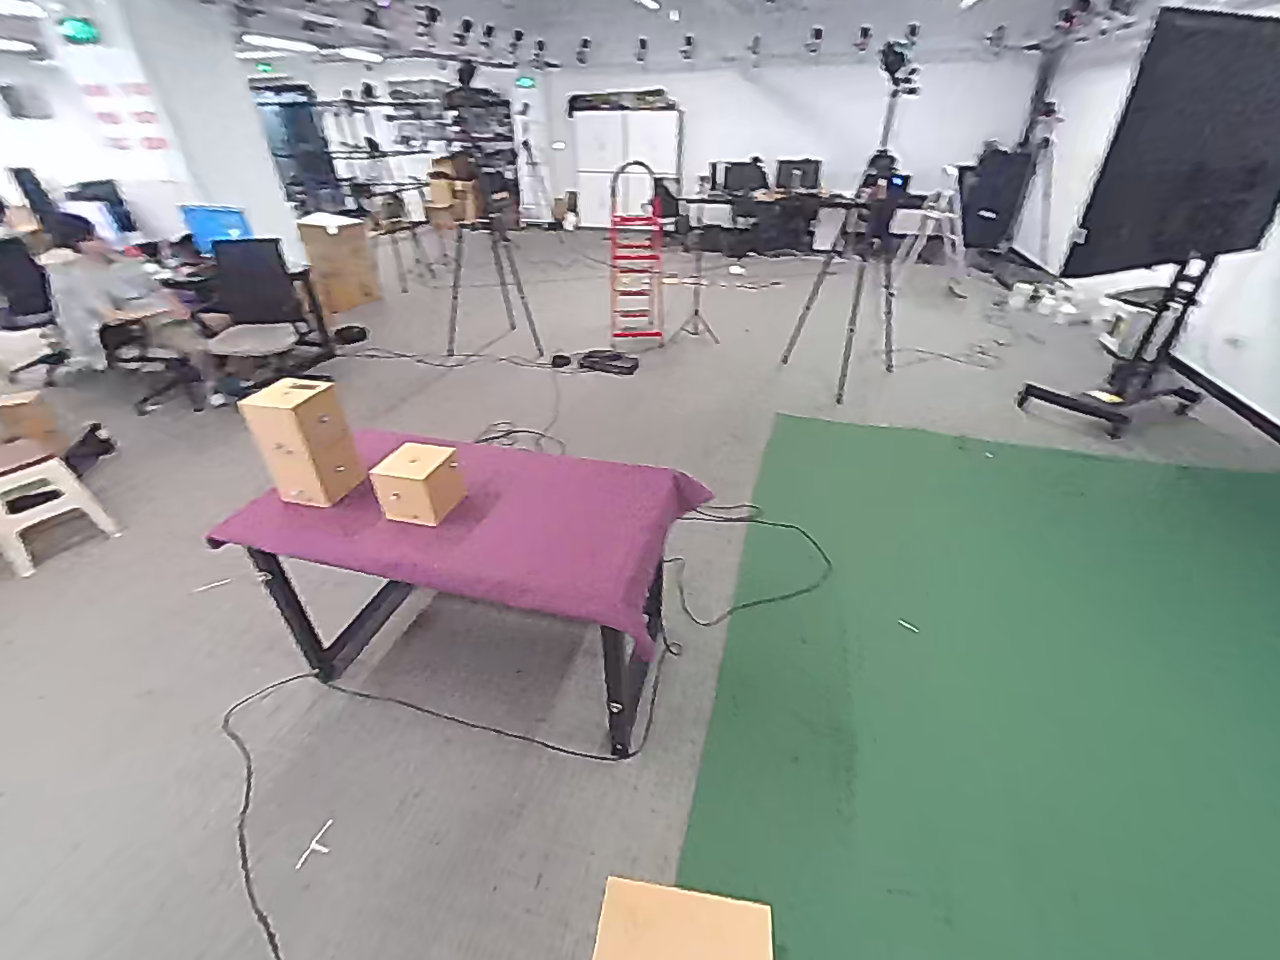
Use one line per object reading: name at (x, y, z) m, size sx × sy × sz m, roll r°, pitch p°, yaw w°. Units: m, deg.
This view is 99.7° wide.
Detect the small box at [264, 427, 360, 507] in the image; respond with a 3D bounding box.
small box at (-0.984, -0.042, 1.646) m, size 0.168 × 0.176 × 0.179 m, roll 7°, pitch 35°, yaw 11°

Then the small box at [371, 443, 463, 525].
small box at (-0.636, 0.012, 1.570) m, size 0.168 × 0.176 × 0.179 m, roll 8°, pitch 33°, yaw 12°
